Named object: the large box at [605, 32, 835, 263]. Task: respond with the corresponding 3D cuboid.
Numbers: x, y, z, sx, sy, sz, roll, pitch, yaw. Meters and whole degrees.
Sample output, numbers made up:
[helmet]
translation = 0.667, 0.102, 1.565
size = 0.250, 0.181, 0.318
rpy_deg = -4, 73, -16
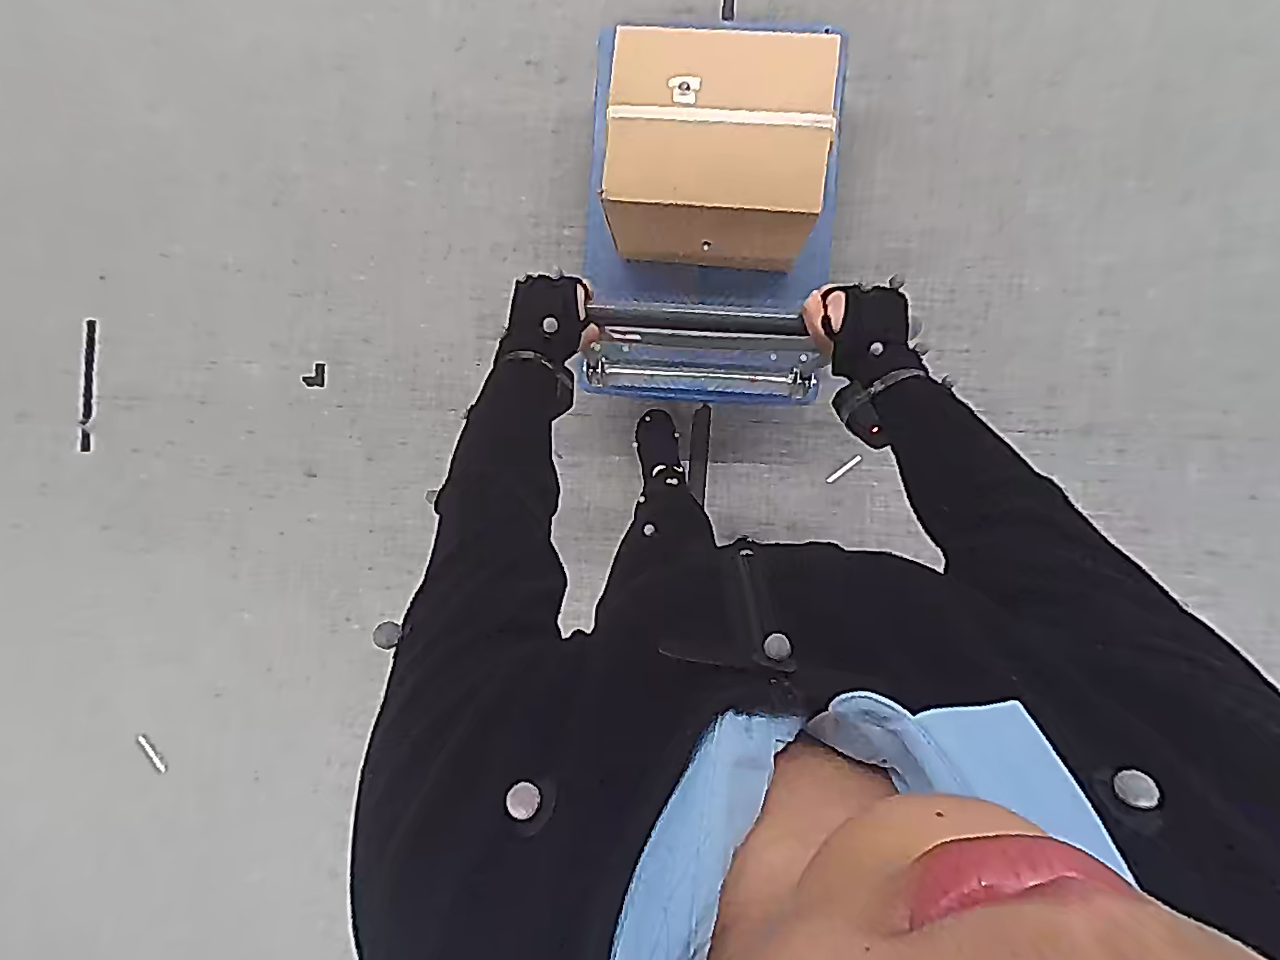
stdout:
[large box]
translation = 0.158, -0.669, 1.138
size = 0.408, 0.320, 0.320
rpy_deg = 6, 92, 5
